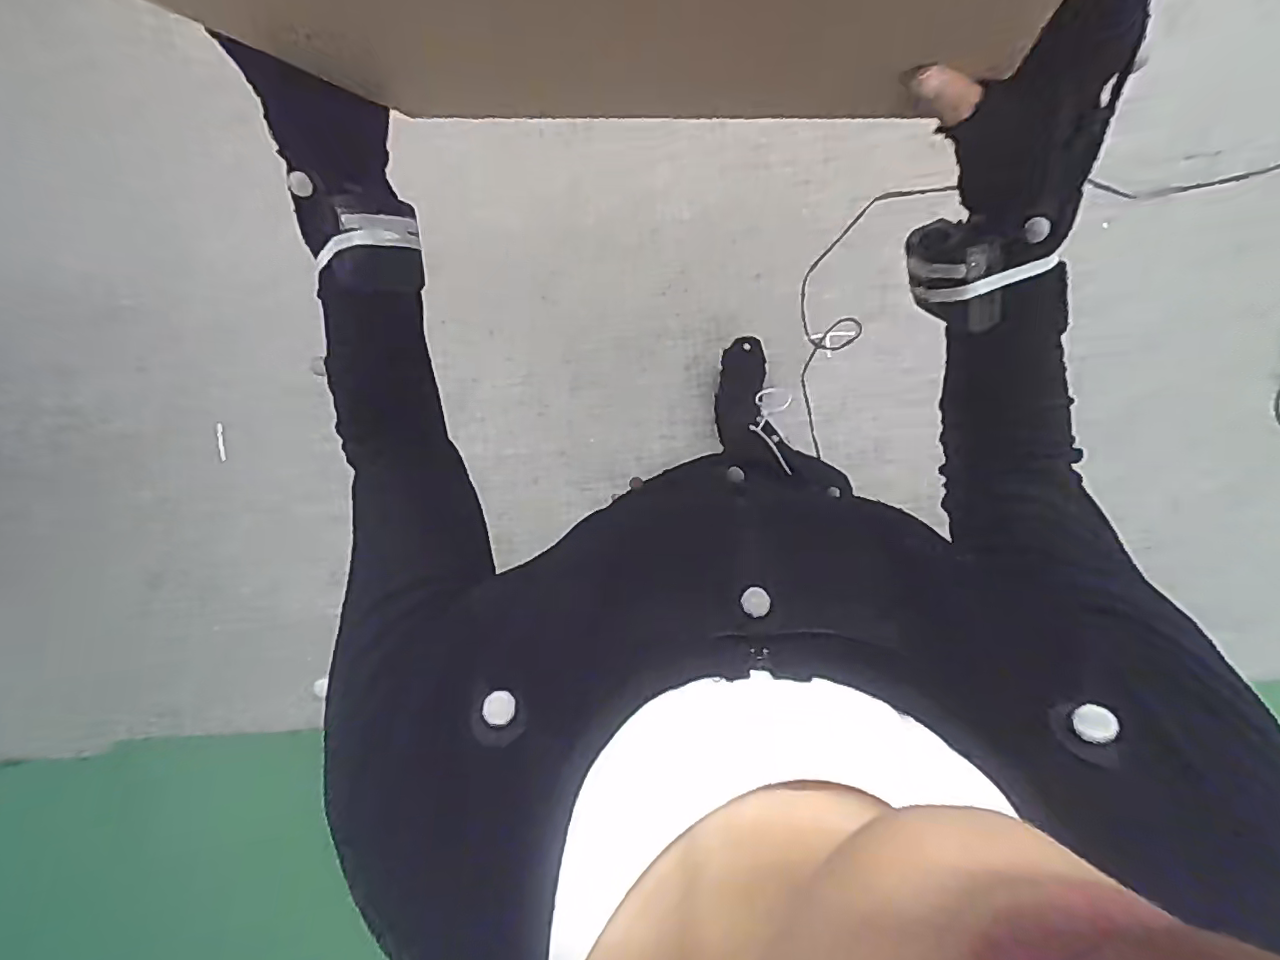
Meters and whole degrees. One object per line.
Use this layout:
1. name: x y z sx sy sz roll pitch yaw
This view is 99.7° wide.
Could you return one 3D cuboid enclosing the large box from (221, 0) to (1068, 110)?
1. large box: -0.018 -0.354 0.175 0.408 0.320 0.320 11 110 16
